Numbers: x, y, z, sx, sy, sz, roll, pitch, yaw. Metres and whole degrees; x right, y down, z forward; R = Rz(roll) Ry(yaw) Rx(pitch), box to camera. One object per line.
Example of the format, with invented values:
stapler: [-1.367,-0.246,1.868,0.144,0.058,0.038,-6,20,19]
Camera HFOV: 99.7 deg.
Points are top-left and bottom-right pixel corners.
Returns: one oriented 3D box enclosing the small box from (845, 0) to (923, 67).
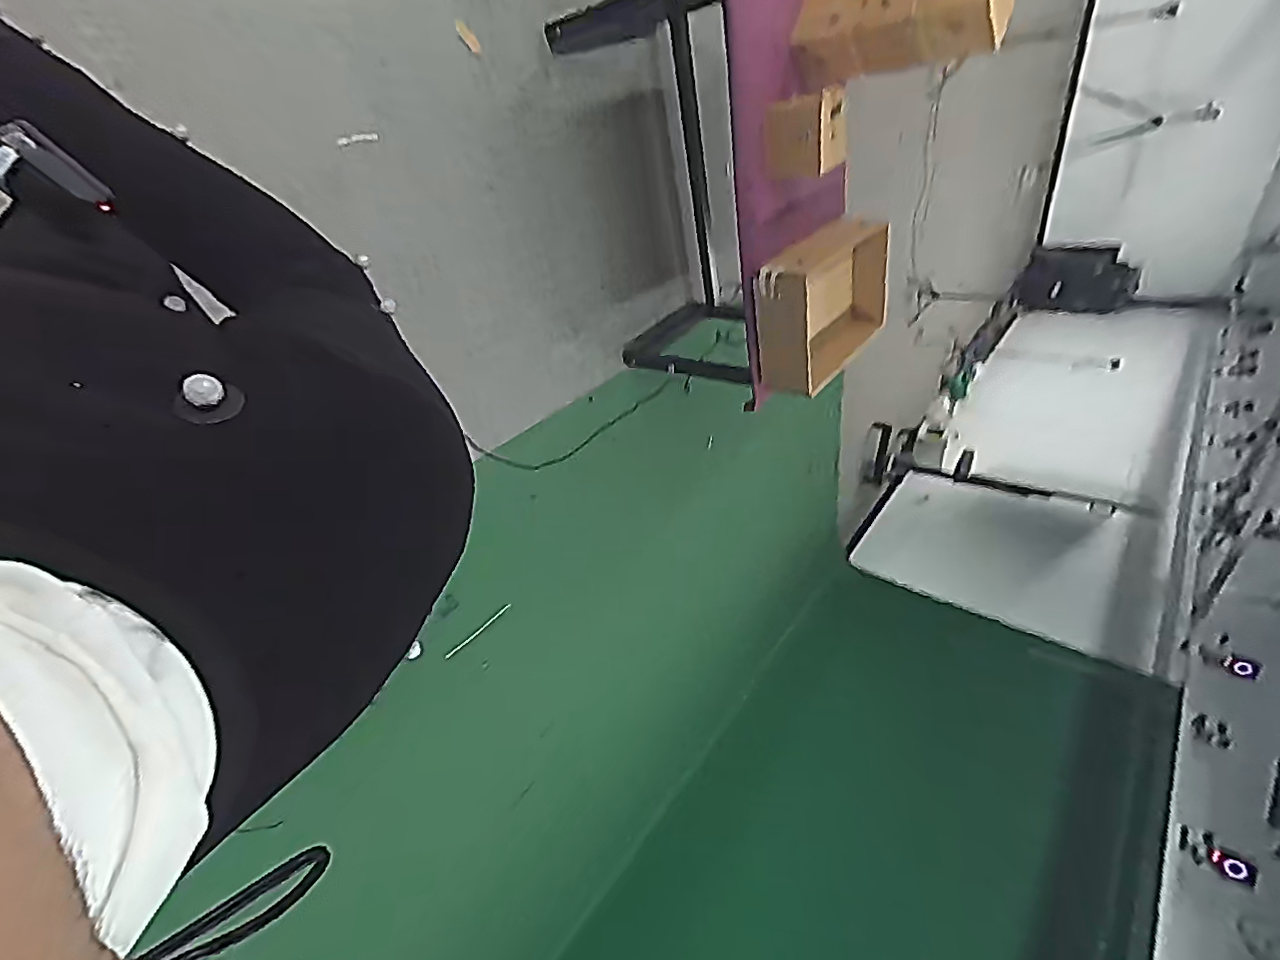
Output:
small box: [0.653,-1.219,1.403,0.179,0.176,0.168,12,98,-52]

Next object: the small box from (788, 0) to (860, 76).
small box: [0.528,-1.266,1.496,0.168,0.176,0.179,11,97,-53]

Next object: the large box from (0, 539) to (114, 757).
large box: [-1.320,0.276,0.982,0.408,0.320,0.320,39,75,-52]

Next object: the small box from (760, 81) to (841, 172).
small box: [0.450,-0.988,1.520,0.168,0.176,0.179,-44,136,-32]

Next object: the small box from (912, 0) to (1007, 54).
small box: [0.774,-1.180,1.303,0.168,0.176,0.179,9,99,-52]
